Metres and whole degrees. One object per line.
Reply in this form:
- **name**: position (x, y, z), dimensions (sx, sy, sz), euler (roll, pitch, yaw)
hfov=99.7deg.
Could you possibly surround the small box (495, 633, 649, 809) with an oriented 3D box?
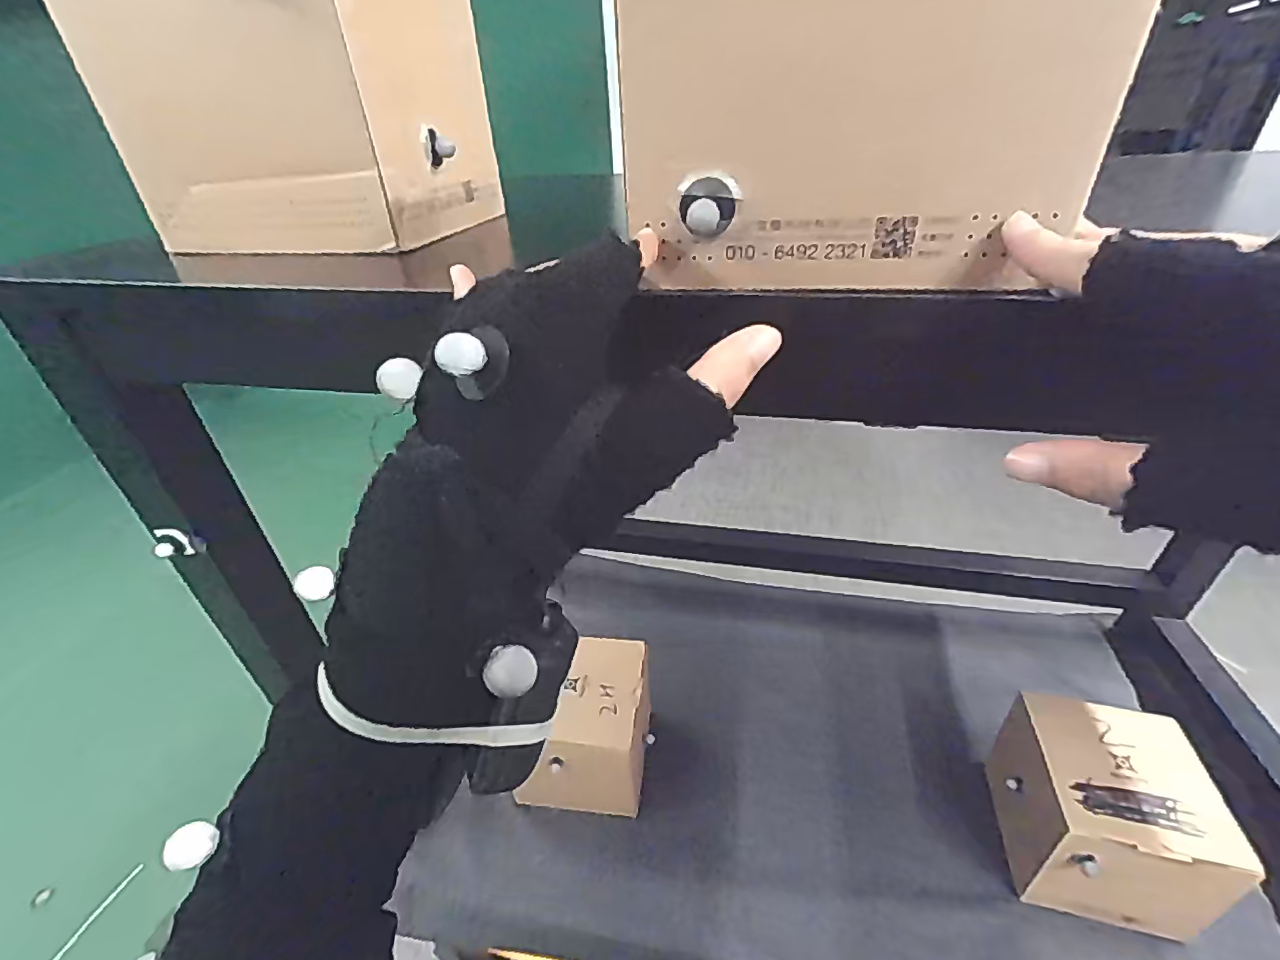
- **small box**: position (-0.085, 0.345, 0.780), dimensions (0.179, 0.176, 0.168), euler (3, 34, 8)
